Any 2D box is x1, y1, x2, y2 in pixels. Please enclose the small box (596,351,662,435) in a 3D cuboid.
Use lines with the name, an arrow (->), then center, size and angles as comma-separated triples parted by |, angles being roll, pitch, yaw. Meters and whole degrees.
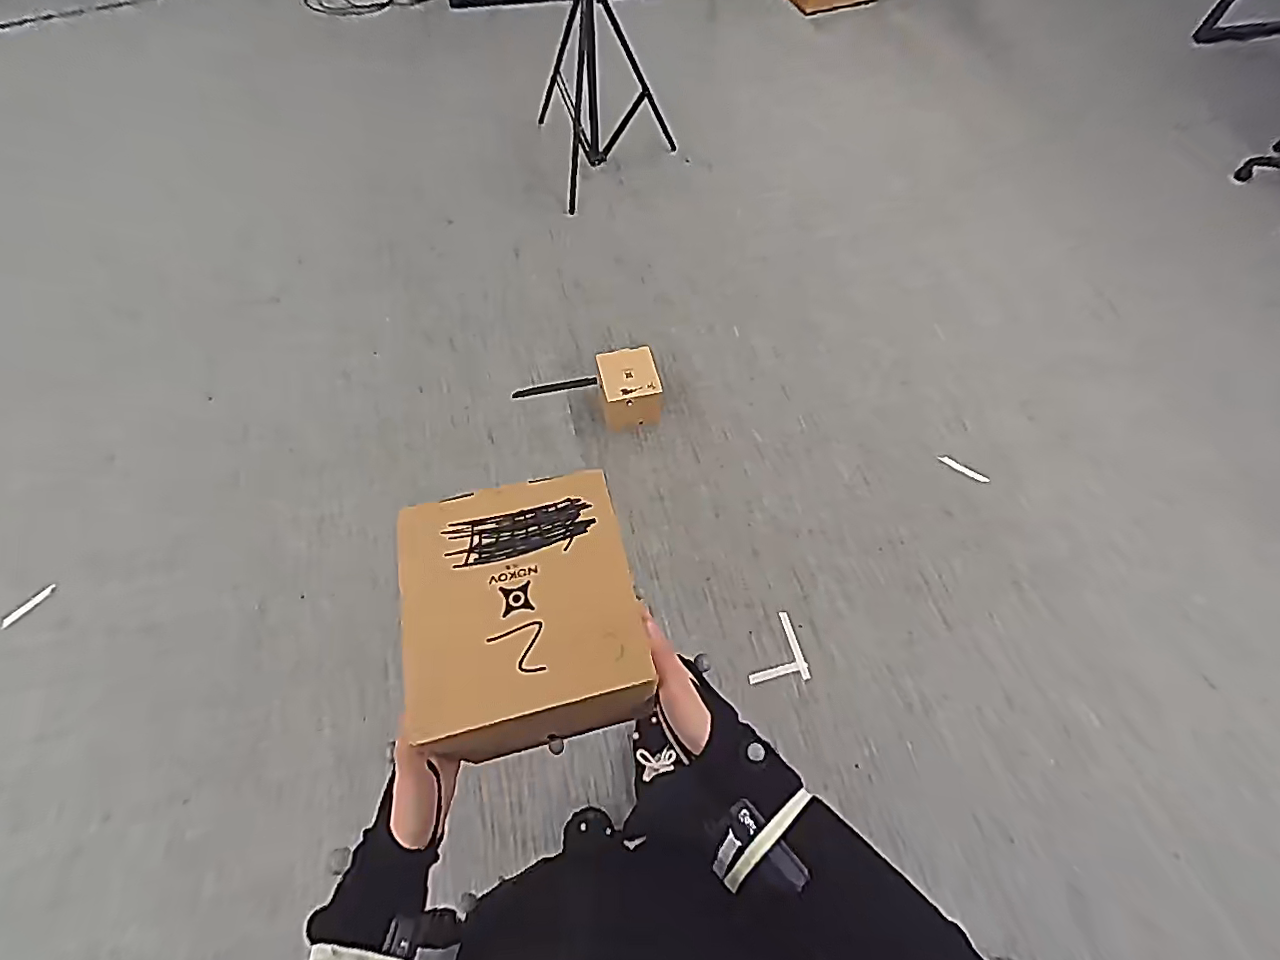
small box -> -0.038, -0.264, 1.653 | 0.168, 0.176, 0.179 | -12, 63, -8
